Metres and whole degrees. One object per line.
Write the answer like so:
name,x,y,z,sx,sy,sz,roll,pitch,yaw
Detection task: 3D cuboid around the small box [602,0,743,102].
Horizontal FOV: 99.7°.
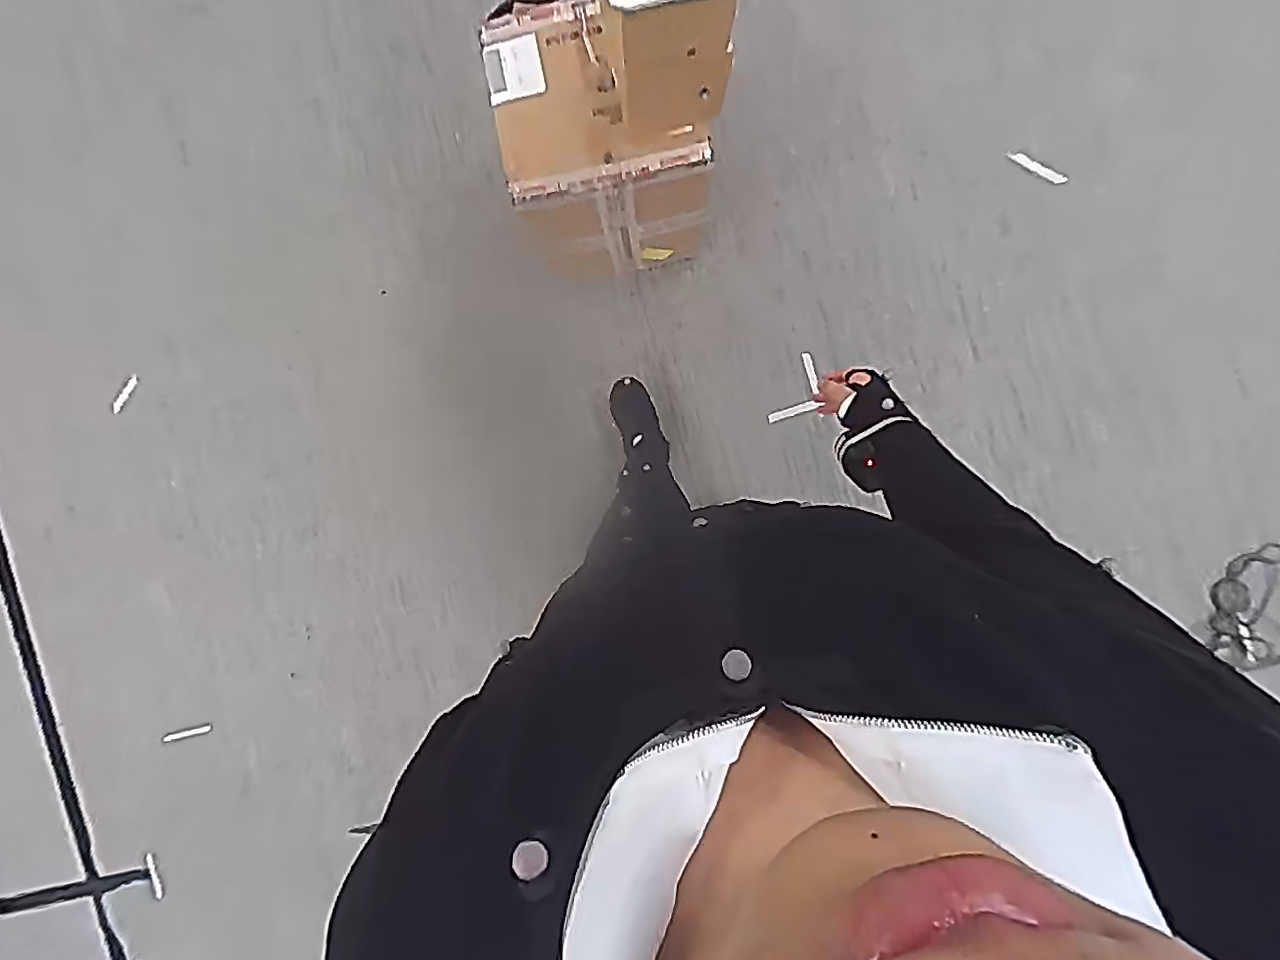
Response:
small box,0.036,-0.690,0.765,0.168,0.176,0.179,-14,91,2

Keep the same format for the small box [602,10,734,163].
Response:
small box,0.045,-0.687,0.928,0.179,0.176,0.168,-17,91,2
